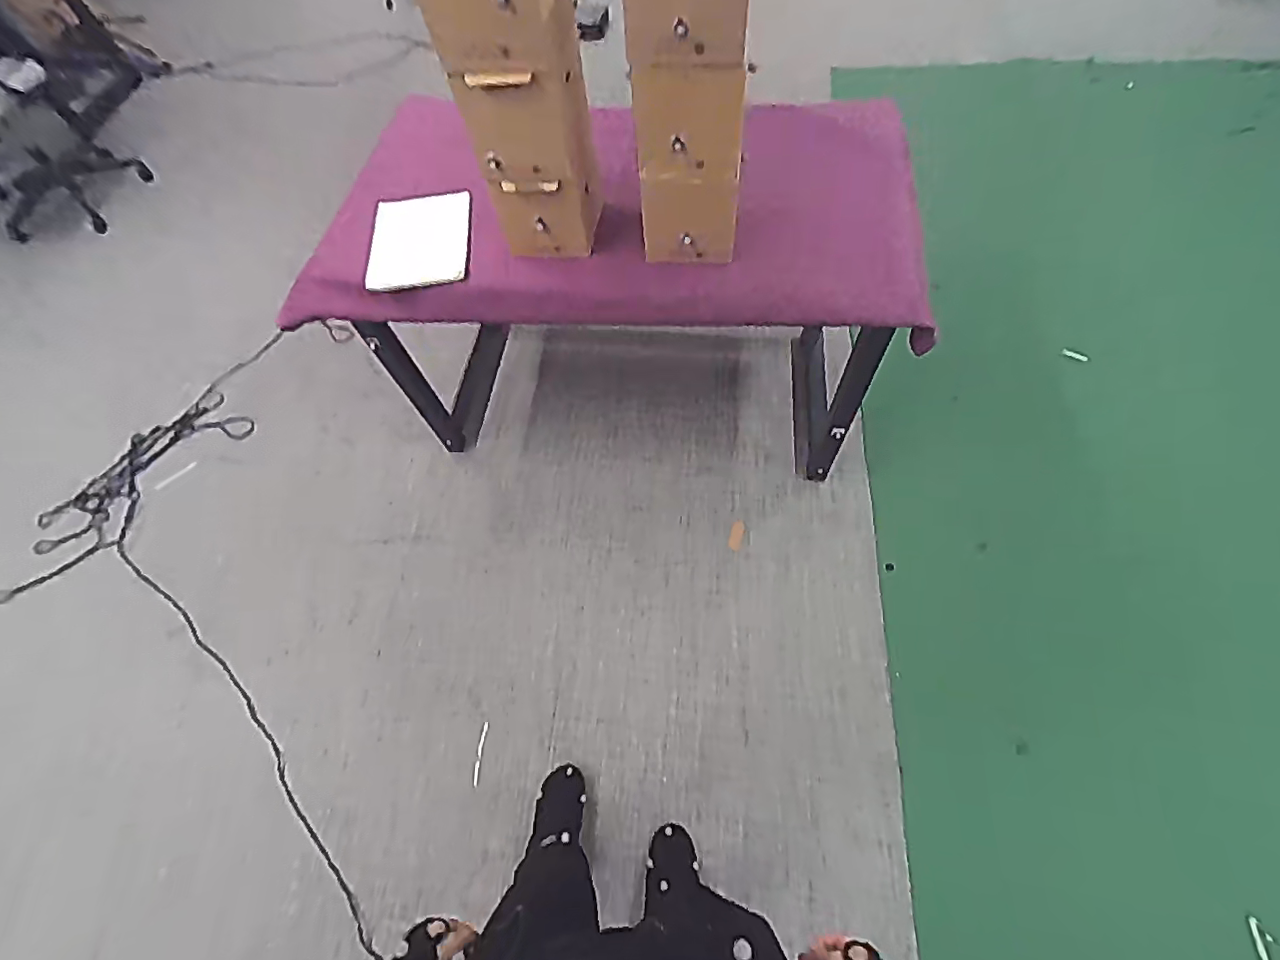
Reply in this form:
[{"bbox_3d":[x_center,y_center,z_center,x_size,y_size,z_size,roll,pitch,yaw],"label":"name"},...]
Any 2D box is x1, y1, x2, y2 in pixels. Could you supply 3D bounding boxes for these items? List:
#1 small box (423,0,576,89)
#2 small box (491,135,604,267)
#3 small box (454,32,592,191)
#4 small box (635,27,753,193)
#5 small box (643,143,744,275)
[{"bbox_3d":[-0.195,-0.688,0.767,0.168,0.176,0.179,6,62,7],"label":"small box"},{"bbox_3d":[-0.170,-0.540,1.059,0.168,0.176,0.179,5,63,7],"label":"small box"},{"bbox_3d":[-0.183,-0.614,0.912,0.168,0.176,0.179,5,61,7],"label":"small box"},{"bbox_3d":[0.088,-0.600,0.882,0.168,0.176,0.179,5,61,7],"label":"small box"},{"bbox_3d":[0.101,-0.515,1.020,0.168,0.176,0.179,5,61,8],"label":"small box"}]
